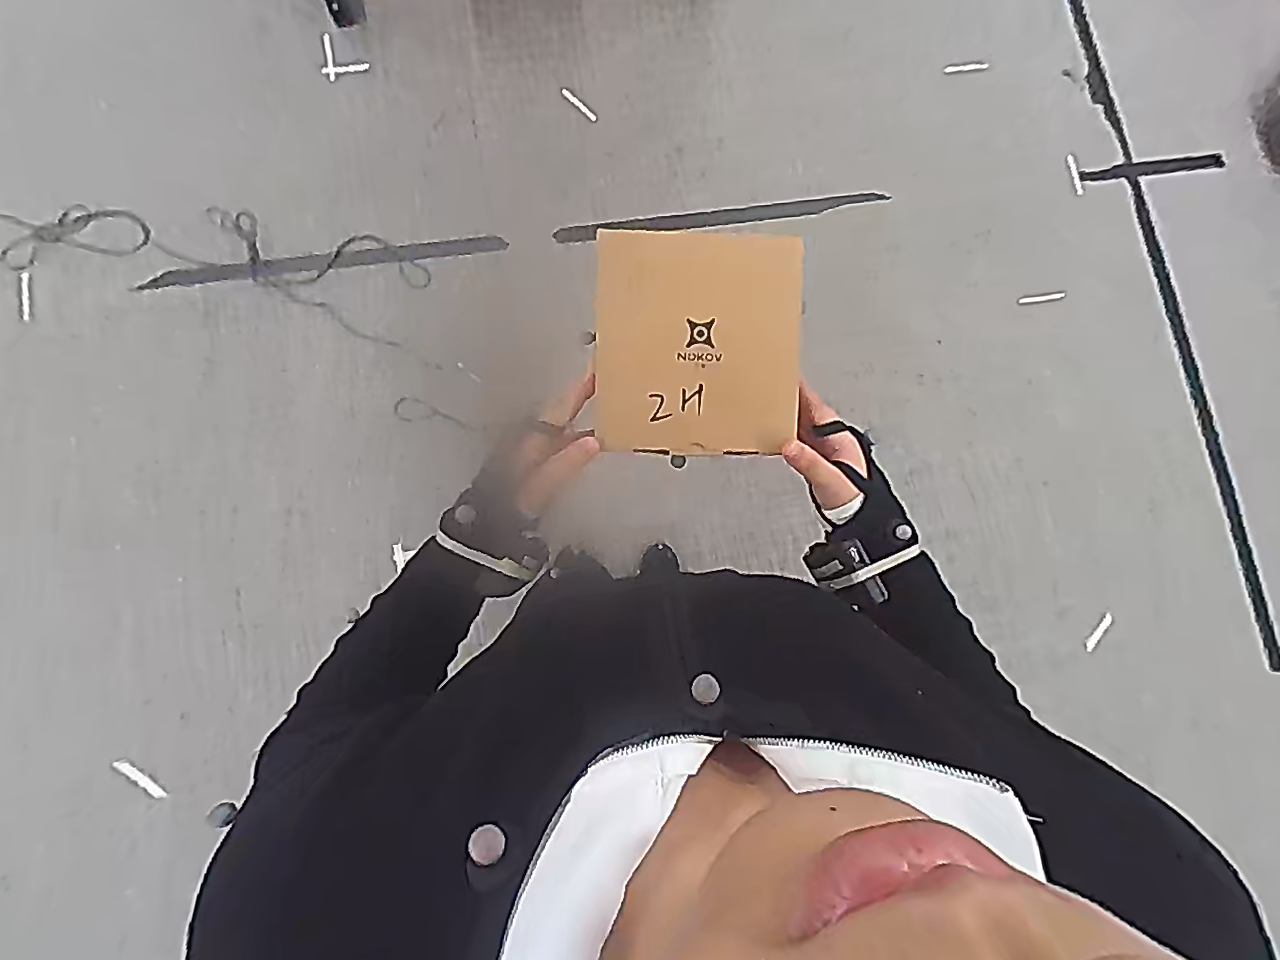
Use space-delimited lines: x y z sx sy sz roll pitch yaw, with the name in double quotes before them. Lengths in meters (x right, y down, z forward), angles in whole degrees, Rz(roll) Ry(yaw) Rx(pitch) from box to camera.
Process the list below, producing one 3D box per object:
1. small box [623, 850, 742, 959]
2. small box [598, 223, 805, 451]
"small box" 0.070 0.745 0.870 0.168 0.176 0.179 -12 80 -6
"small box" 0.045 -0.117 0.510 0.168 0.176 0.179 1 94 -2
